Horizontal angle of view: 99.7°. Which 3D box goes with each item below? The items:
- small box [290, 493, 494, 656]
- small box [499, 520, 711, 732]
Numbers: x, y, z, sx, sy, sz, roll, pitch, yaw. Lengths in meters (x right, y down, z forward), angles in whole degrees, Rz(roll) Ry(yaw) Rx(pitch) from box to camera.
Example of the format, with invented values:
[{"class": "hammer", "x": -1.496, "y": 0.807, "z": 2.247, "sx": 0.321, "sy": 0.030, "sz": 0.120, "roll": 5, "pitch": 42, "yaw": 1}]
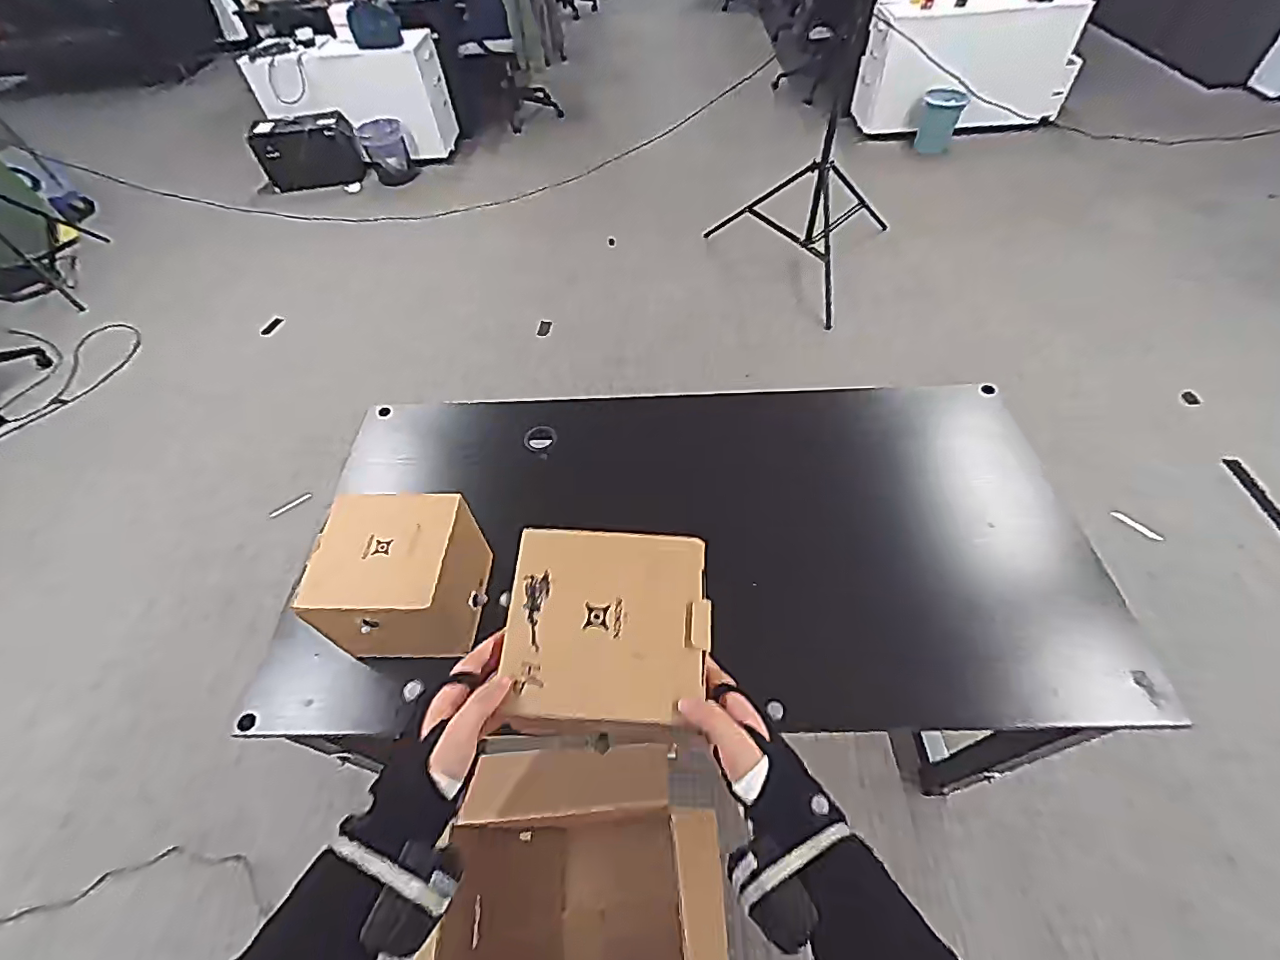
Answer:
[{"class": "small box", "x": -0.317, "y": 0.133, "z": 0.735, "sx": 0.179, "sy": 0.176, "sz": 0.168, "roll": -1, "pitch": 54, "yaw": 2}, {"class": "small box", "x": -0.029, "y": 0.156, "z": 0.549, "sx": 0.179, "sy": 0.176, "sz": 0.168, "roll": 4, "pitch": 59, "yaw": -1}]
